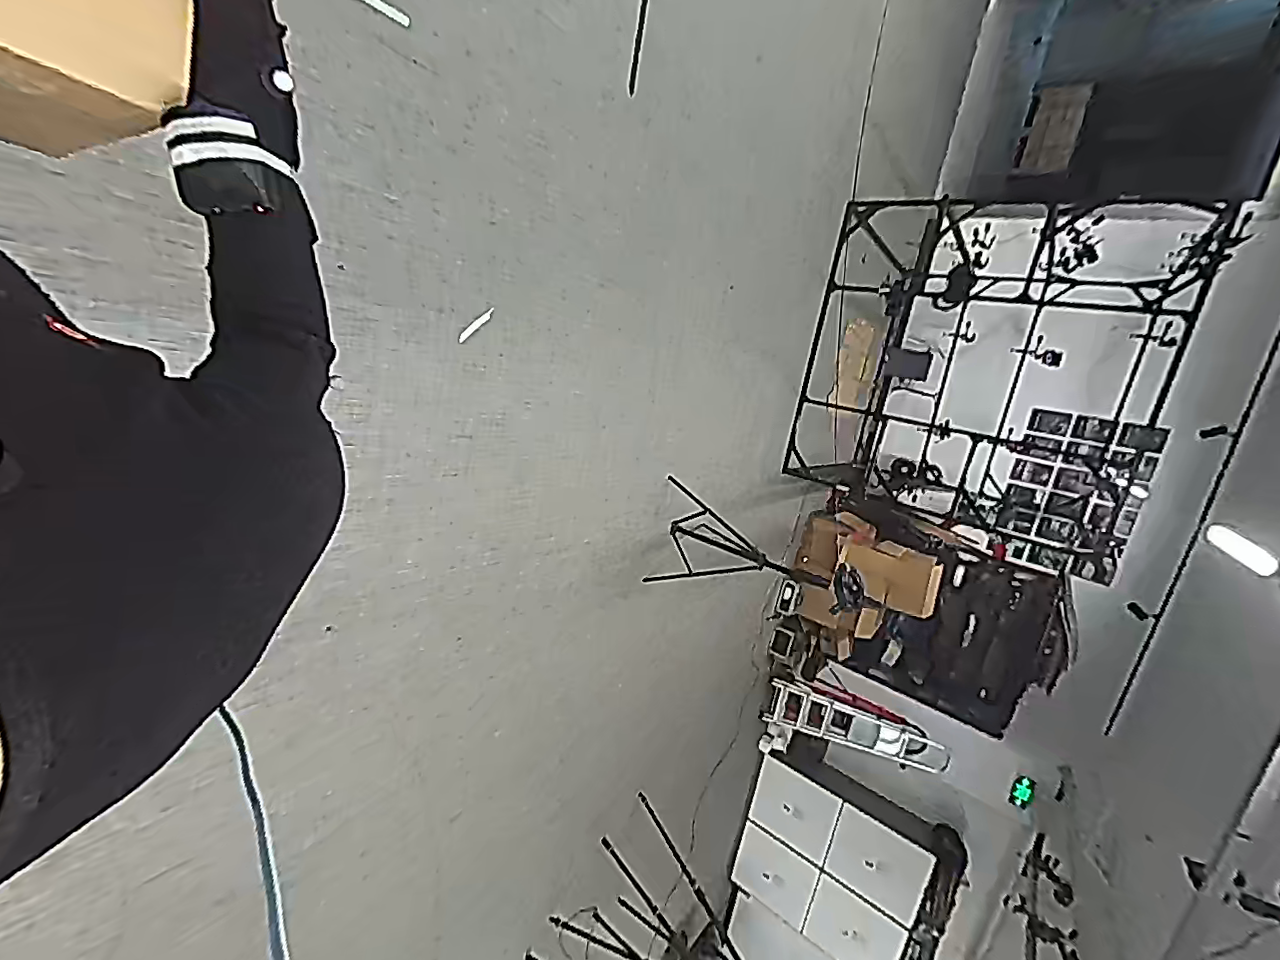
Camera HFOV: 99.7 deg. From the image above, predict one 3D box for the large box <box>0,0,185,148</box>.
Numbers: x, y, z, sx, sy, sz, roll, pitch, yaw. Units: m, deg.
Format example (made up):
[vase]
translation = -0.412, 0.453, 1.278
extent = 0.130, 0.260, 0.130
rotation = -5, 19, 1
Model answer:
[large box]
translation = -0.536, -0.436, 0.274
extent = 0.408, 0.320, 0.320
rotation = -3, 106, -59
